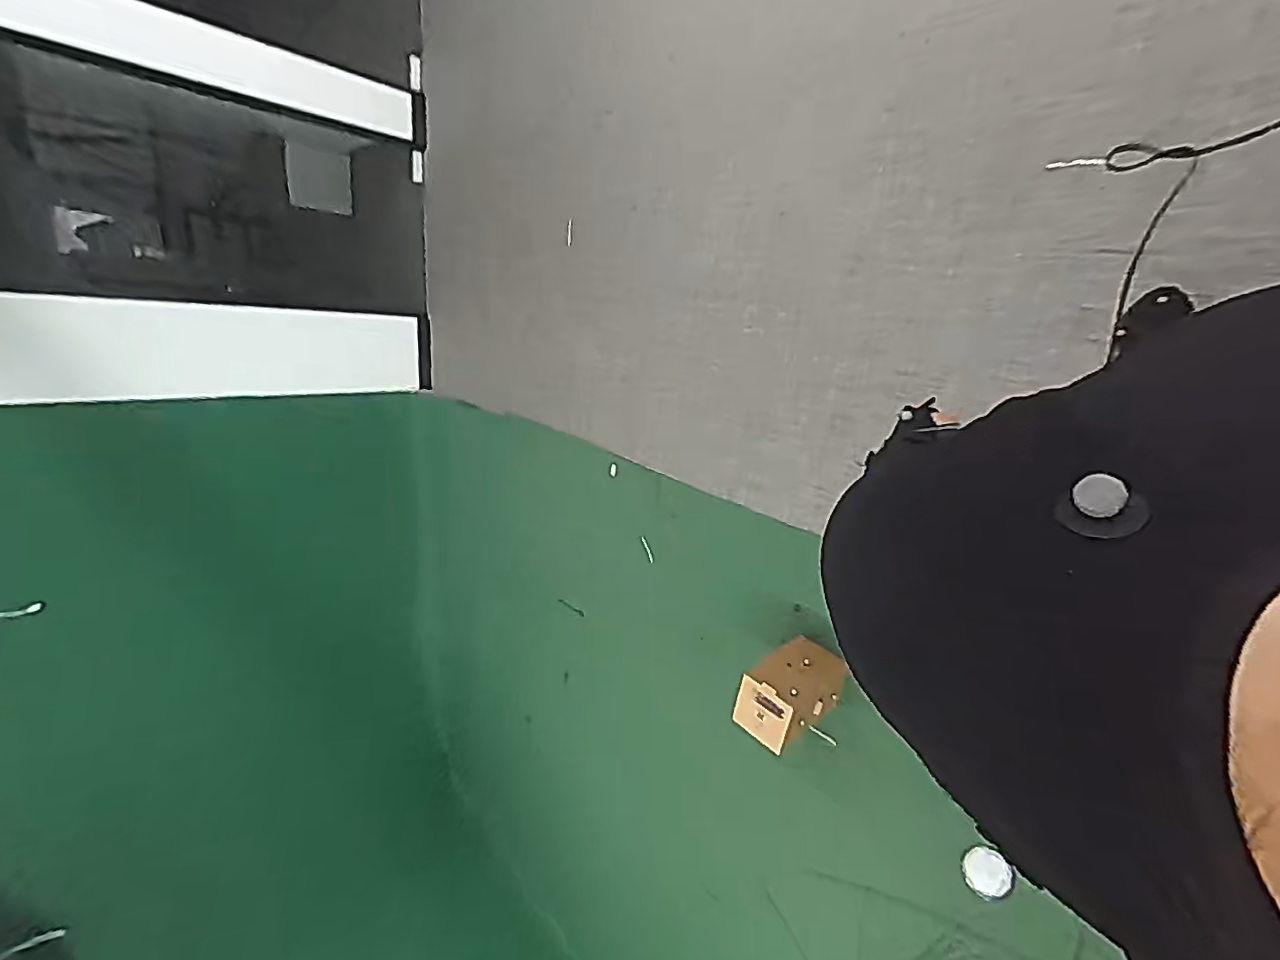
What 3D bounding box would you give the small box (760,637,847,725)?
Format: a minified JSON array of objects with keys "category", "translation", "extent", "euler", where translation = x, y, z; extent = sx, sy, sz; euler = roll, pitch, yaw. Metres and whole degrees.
[{"category":"small box","translation":[0.509,0.613,1.683],"extent":[0.179,0.176,0.168],"euler":[28,117,40]}]
